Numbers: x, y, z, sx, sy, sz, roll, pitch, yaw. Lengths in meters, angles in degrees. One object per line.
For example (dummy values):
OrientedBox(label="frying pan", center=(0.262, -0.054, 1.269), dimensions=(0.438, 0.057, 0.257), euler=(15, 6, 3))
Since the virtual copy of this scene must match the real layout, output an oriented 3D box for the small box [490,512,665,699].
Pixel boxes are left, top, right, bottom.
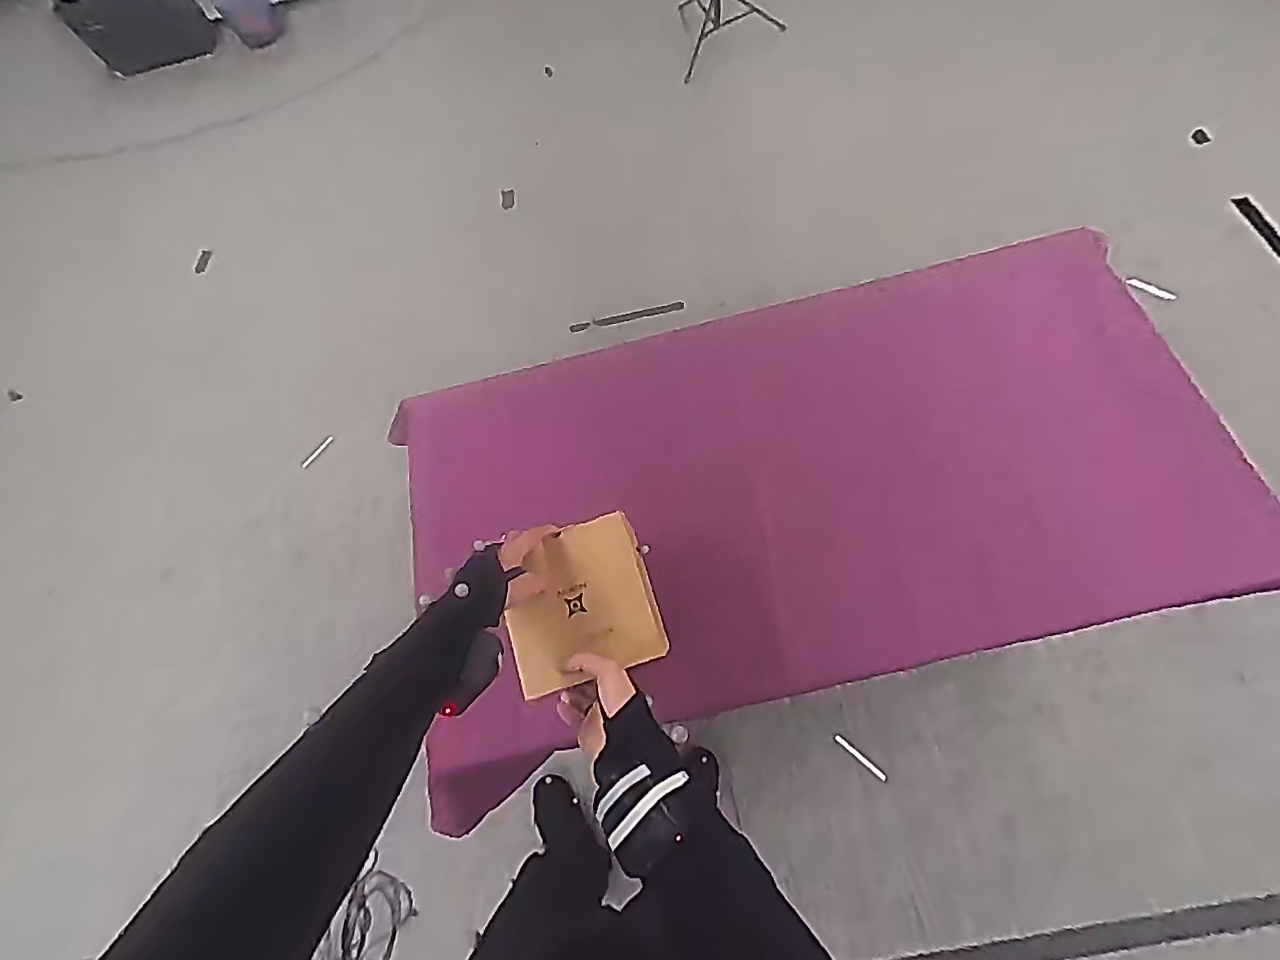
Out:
OrientedBox(label="small box", center=(-0.070, 0.159, 0.689), dimensions=(0.168, 0.176, 0.179), euler=(-17, 75, 2))
